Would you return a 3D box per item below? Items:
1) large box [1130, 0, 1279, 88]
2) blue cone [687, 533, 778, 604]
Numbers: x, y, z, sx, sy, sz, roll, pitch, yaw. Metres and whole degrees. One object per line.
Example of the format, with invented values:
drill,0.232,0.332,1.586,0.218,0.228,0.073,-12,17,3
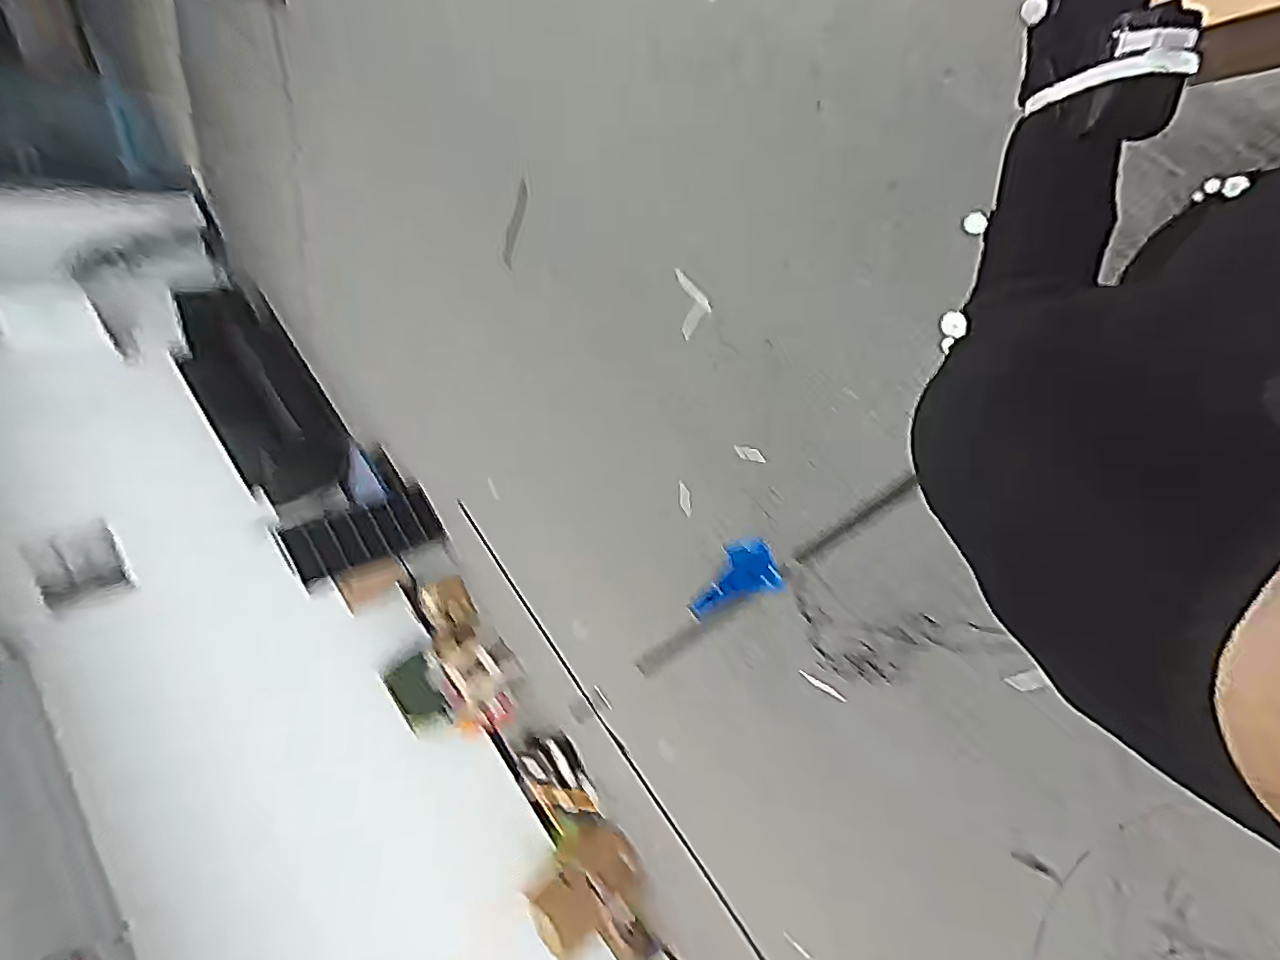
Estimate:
large box,0.557,-0.463,0.281,0.408,0.320,0.320,13,120,42
blue cone,0.311,0.344,1.947,0.192,0.380,0.193,-21,92,51
